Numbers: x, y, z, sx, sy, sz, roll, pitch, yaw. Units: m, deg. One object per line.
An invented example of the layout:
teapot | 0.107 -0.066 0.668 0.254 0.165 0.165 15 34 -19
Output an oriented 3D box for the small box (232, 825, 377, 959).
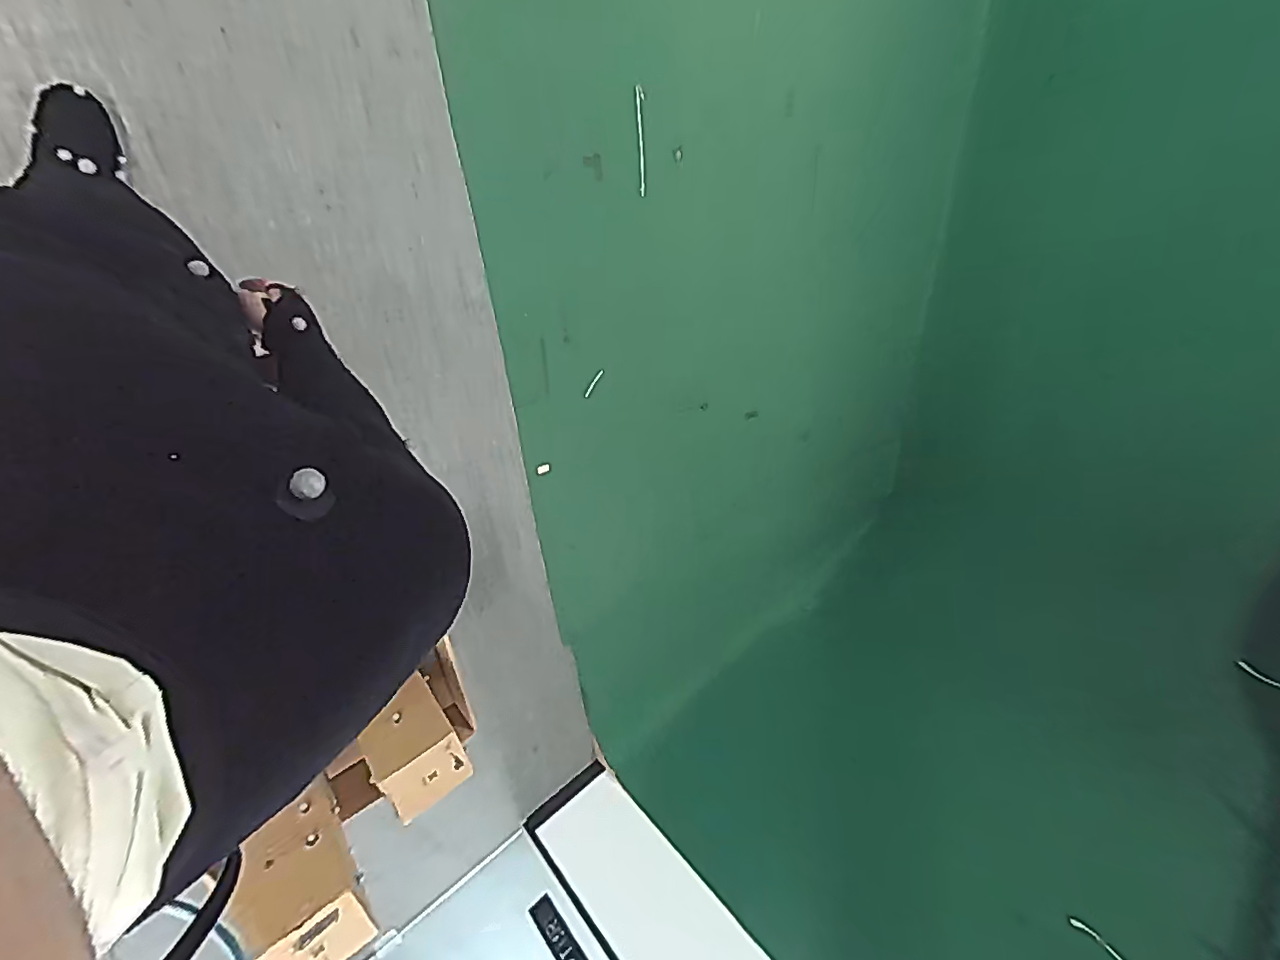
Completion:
small box | -0.617 0.785 0.996 0.168 0.176 0.179 -25 127 -32

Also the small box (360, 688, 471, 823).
small box | -0.522 0.626 1.246 0.179 0.176 0.168 -28 127 -30

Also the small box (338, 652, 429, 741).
small box | -0.627 0.569 1.358 0.179 0.176 0.168 -25 126 -30
